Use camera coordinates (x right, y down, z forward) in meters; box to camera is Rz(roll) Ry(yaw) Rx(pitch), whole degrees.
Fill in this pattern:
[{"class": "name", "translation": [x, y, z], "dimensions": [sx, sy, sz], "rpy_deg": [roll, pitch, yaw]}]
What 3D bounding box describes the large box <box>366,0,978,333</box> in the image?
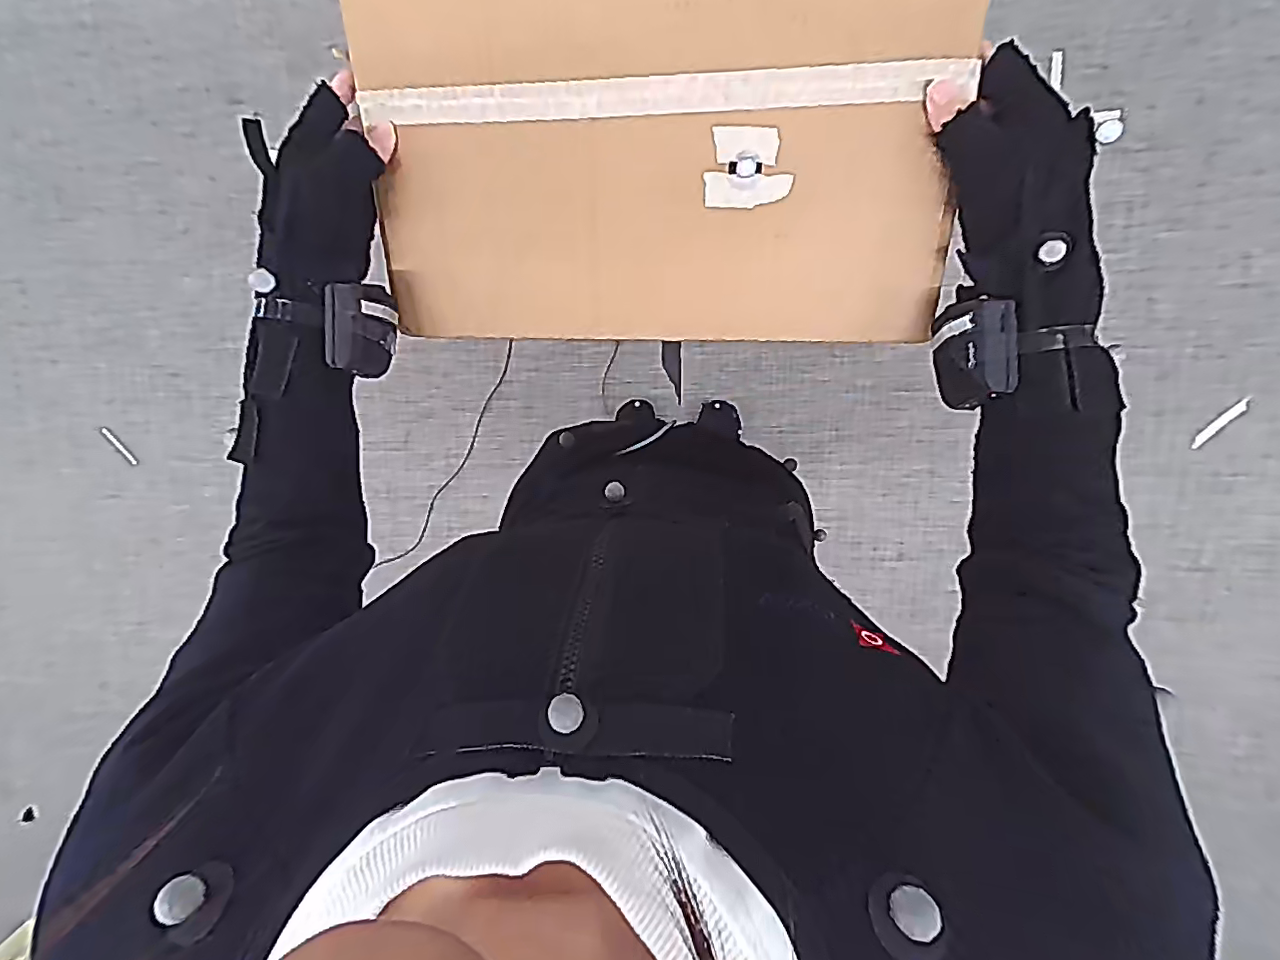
[{"class": "large box", "translation": [0.027, -0.315, 0.505], "dimensions": [0.408, 0.320, 0.320], "rpy_deg": [2, 112, 7]}]
